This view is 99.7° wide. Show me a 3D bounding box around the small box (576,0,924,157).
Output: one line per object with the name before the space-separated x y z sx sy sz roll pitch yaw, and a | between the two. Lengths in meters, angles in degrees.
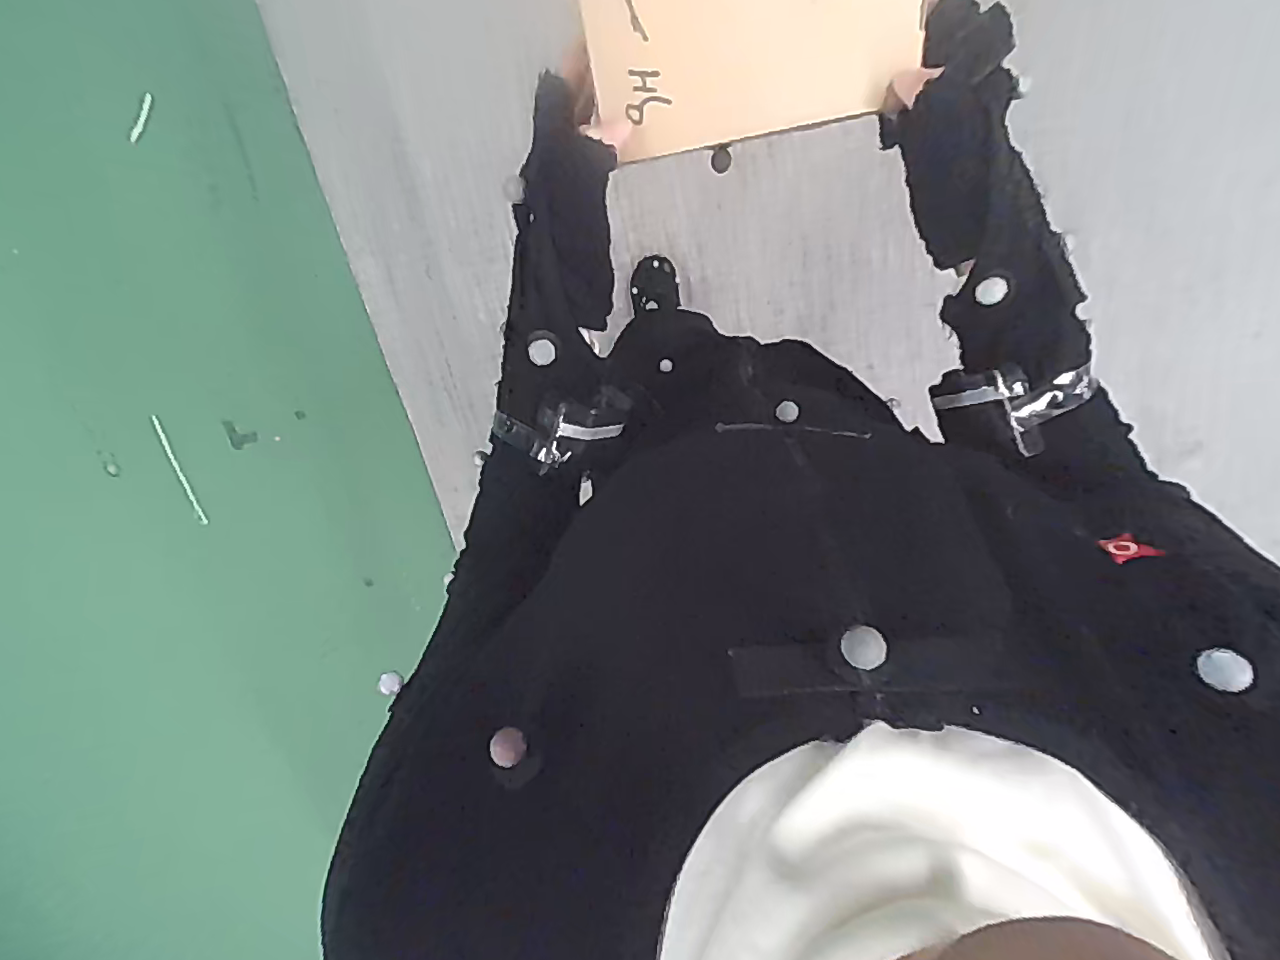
small box | 0.049 -0.308 0.329 0.179 0.176 0.168 -11 118 1
